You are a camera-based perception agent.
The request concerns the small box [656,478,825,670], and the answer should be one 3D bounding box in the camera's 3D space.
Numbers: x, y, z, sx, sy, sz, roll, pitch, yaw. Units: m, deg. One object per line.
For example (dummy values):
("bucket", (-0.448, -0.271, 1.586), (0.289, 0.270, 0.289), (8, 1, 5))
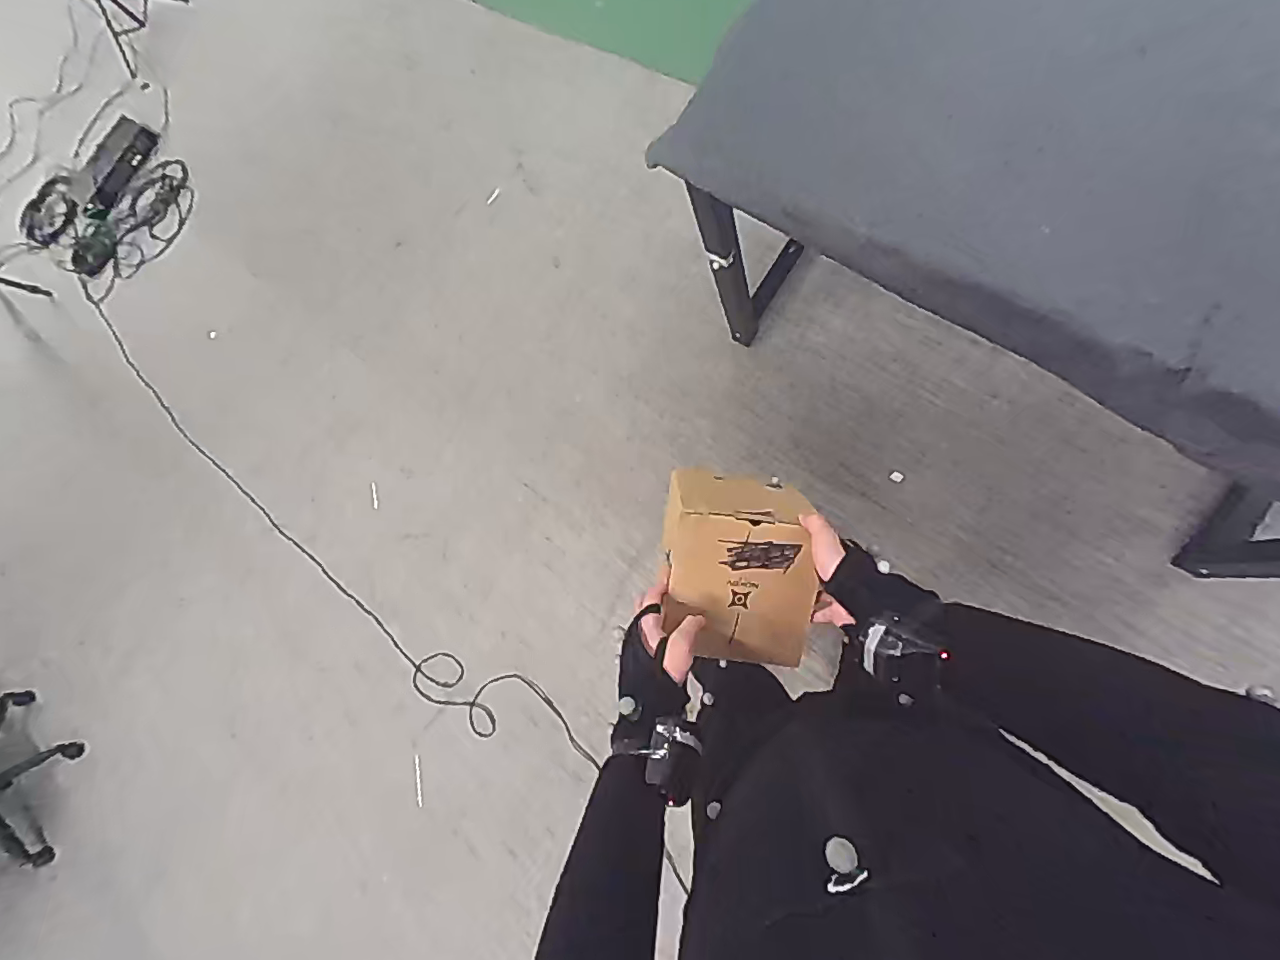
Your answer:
("small box", (0.110, 0.104, 0.671), (0.168, 0.176, 0.179), (7, 106, 1))
